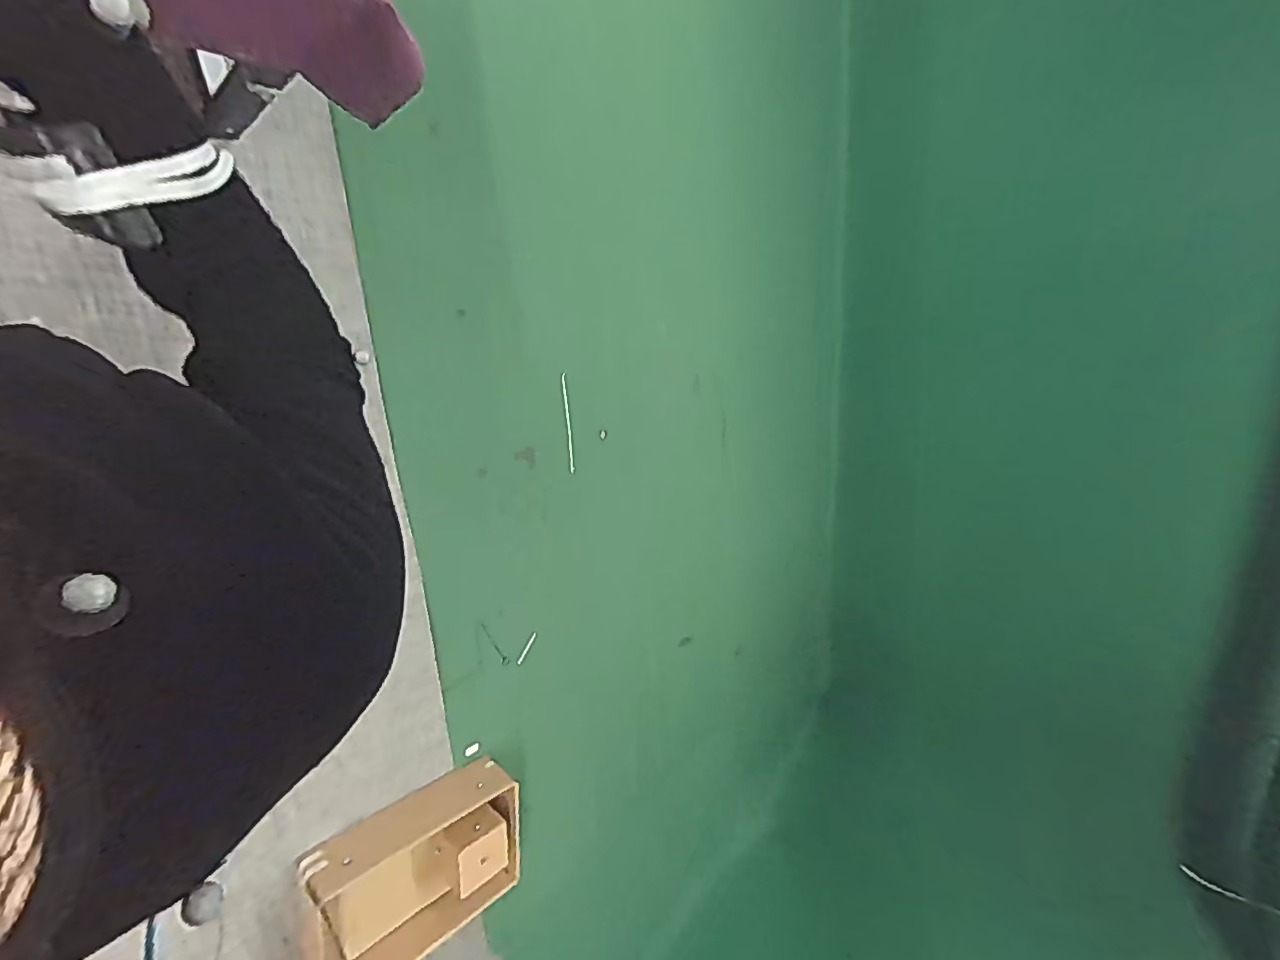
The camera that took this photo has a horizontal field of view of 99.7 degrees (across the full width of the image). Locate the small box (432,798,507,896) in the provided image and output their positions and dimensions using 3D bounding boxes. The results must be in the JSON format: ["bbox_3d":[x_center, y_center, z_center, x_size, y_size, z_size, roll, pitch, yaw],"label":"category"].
[{"bbox_3d":[-0.560,1.190,1.773,0.179,0.176,0.168,-10,104,-47],"label":"small box"}]
